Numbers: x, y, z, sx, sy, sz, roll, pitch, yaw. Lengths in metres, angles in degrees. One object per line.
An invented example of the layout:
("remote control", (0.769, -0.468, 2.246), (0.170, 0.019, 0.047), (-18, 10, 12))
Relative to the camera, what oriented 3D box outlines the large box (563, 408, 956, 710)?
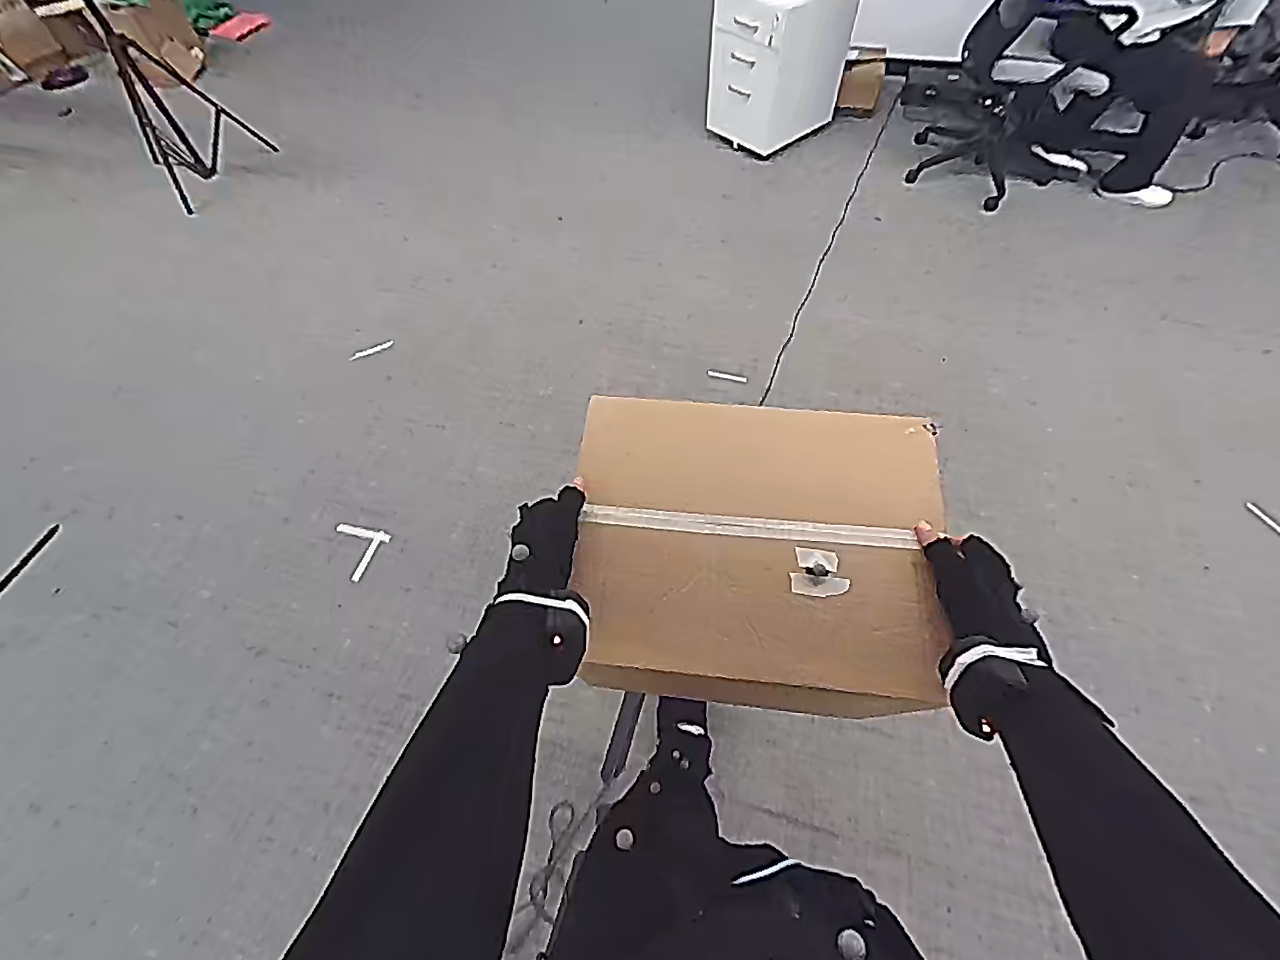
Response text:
("large box", (0.134, 0.124, 0.742), (0.408, 0.320, 0.320), (5, 65, 5))
